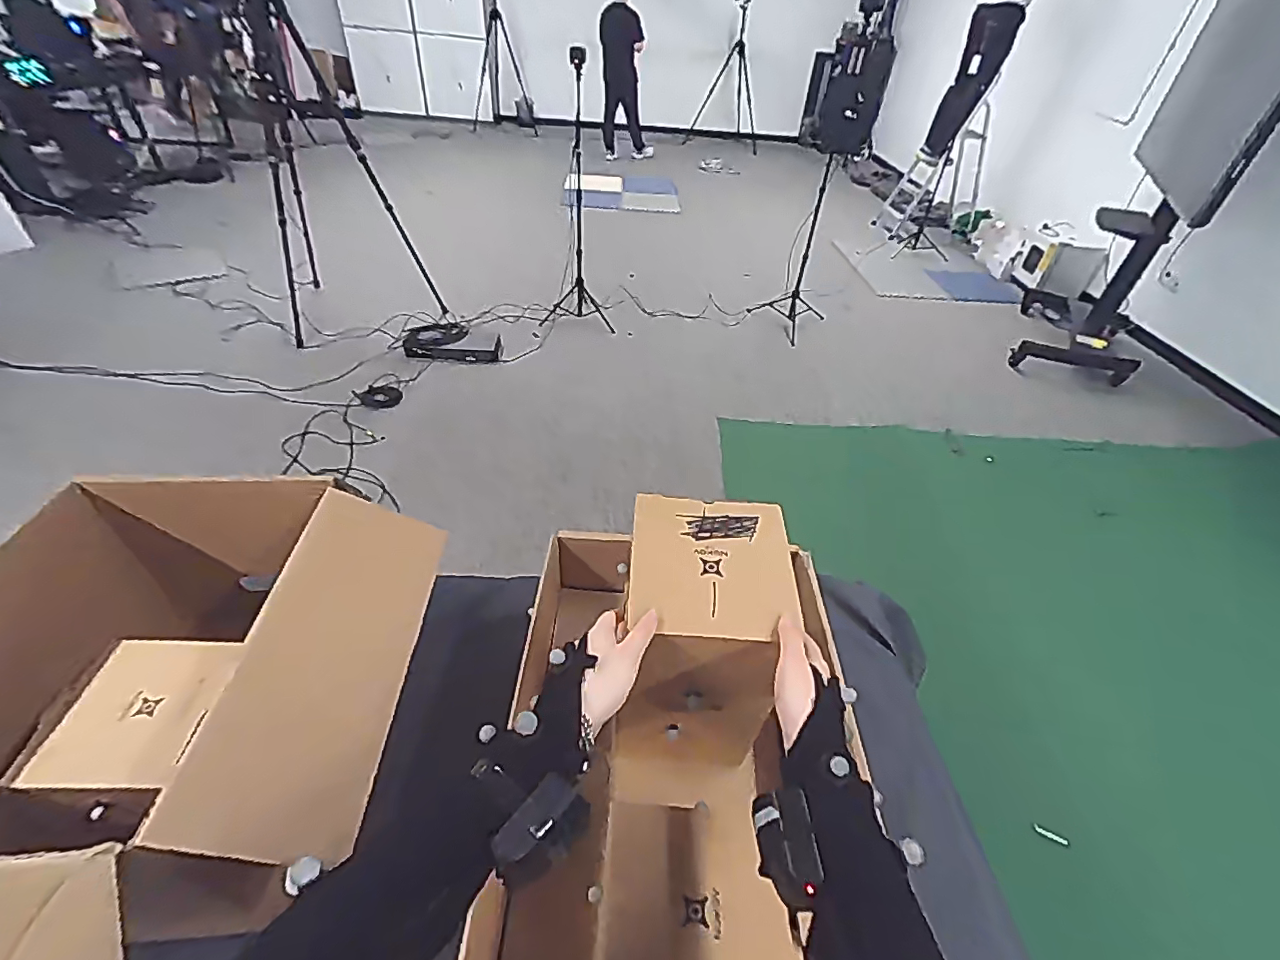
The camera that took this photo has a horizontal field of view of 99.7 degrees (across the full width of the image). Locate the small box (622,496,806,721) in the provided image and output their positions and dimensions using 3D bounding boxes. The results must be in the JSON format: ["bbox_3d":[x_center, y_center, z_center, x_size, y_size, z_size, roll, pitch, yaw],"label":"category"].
[{"bbox_3d":[0.069,0.143,0.603,0.168,0.176,0.179,4,45,0],"label":"small box"}]

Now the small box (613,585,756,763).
[{"bbox_3d":[0.059,0.259,0.719,0.179,0.176,0.168,4,44,1],"label":"small box"}]
